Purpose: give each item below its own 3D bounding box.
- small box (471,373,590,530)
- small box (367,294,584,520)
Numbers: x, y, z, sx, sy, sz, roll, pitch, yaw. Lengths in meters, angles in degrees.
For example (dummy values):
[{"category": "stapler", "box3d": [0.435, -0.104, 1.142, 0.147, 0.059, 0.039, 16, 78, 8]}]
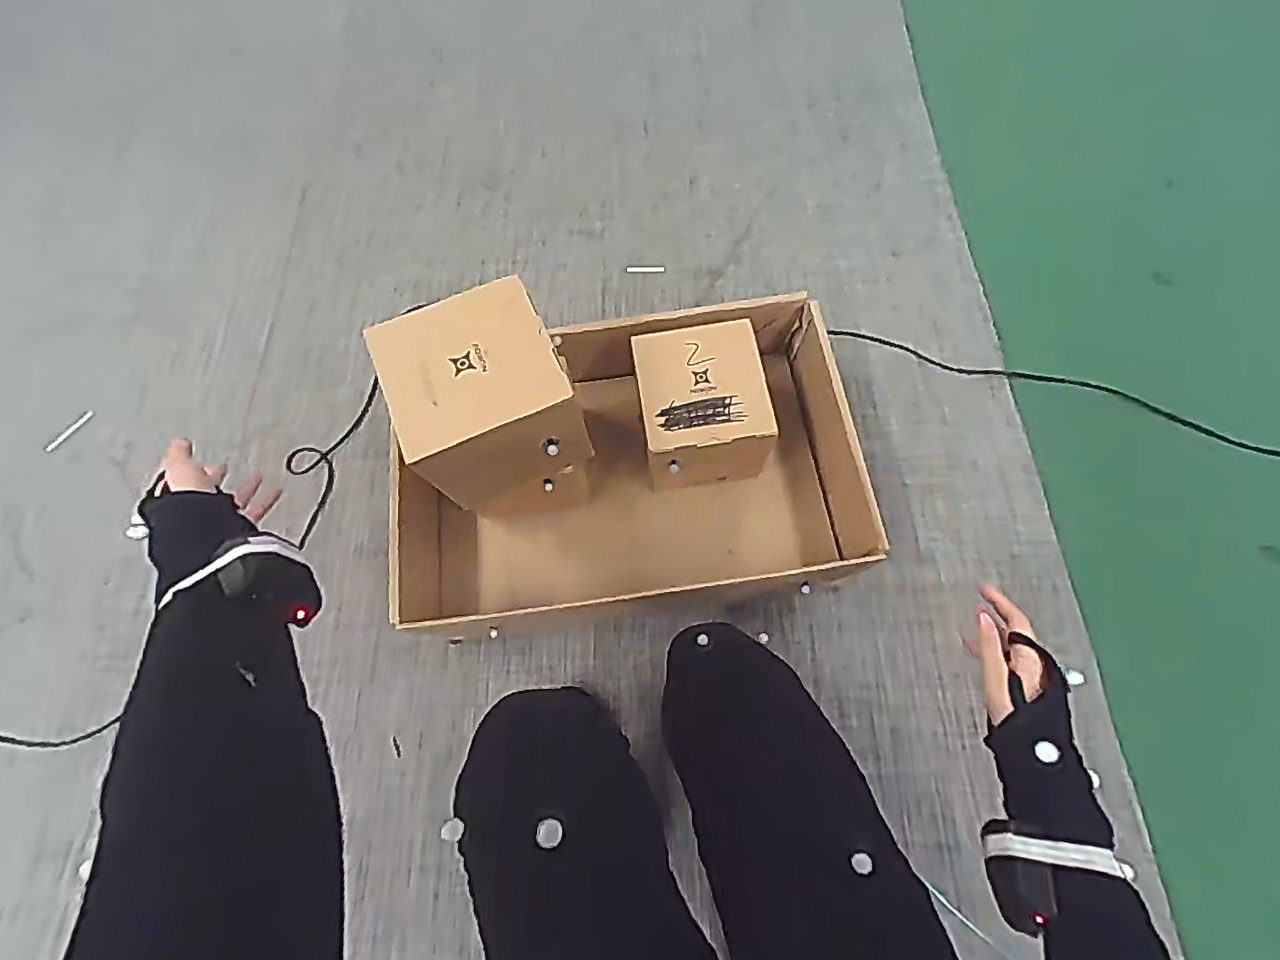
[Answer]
[{"category": "small box", "box3d": [-0.175, -0.033, 0.782, 0.179, 0.176, 0.168, -7, 71, -1]}, {"category": "small box", "box3d": [-0.173, -0.074, 0.624, 0.179, 0.176, 0.168, -23, 71, -5]}]
